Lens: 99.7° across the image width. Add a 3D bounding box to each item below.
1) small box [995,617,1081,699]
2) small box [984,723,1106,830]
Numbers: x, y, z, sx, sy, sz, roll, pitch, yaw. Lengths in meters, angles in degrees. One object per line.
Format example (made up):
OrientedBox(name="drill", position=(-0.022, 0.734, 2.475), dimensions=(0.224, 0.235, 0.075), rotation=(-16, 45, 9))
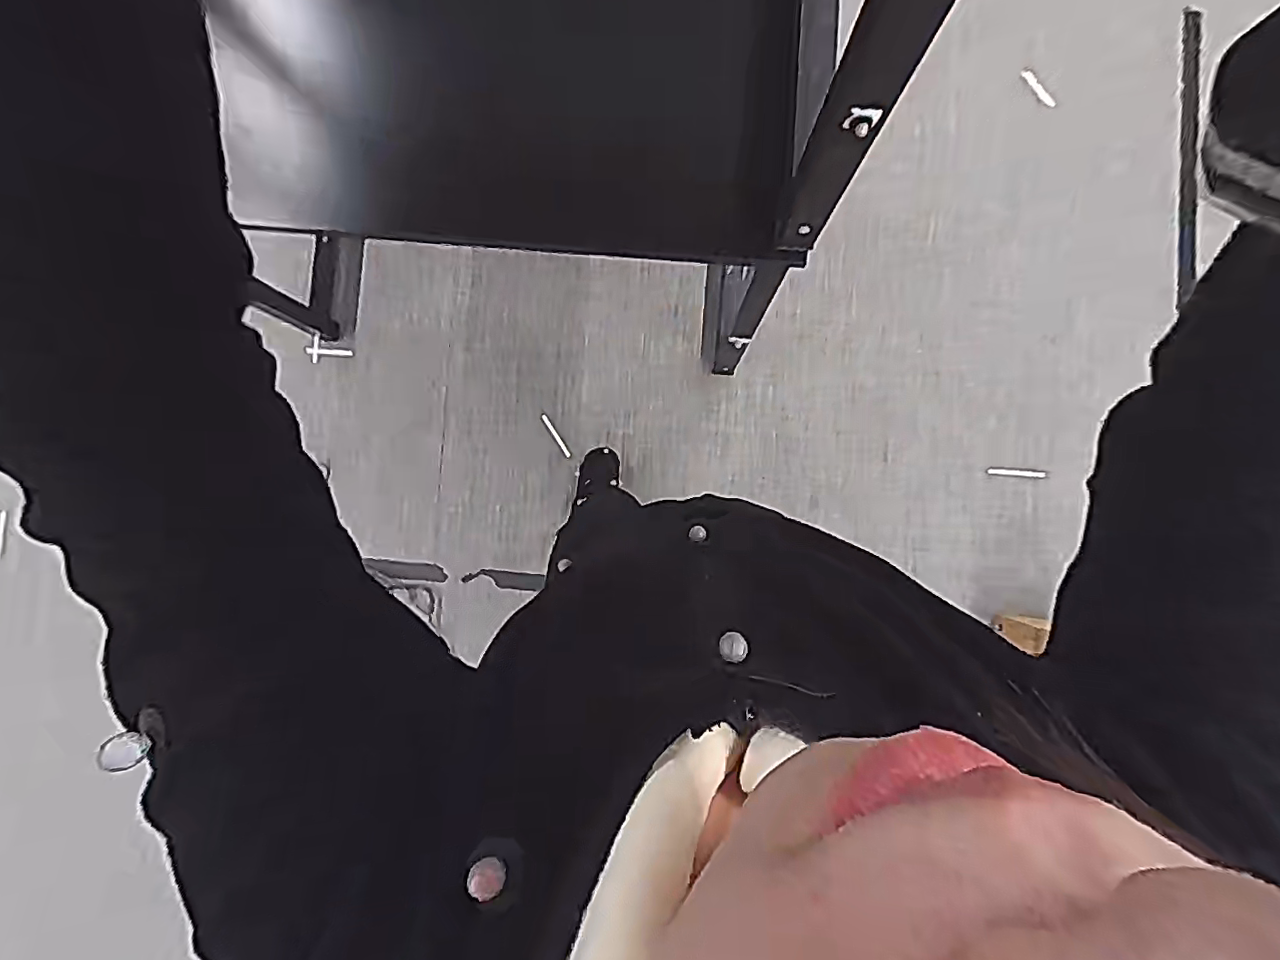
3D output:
OrientedBox(name="small box", position=(1.035, 0.450, 1.364), dimensions=(0.179, 0.176, 0.168), rotation=(6, 88, 2))
OrientedBox(name="small box", position=(1.004, 0.731, 1.355), dimensions=(0.179, 0.176, 0.168), rotation=(9, 88, 2))
